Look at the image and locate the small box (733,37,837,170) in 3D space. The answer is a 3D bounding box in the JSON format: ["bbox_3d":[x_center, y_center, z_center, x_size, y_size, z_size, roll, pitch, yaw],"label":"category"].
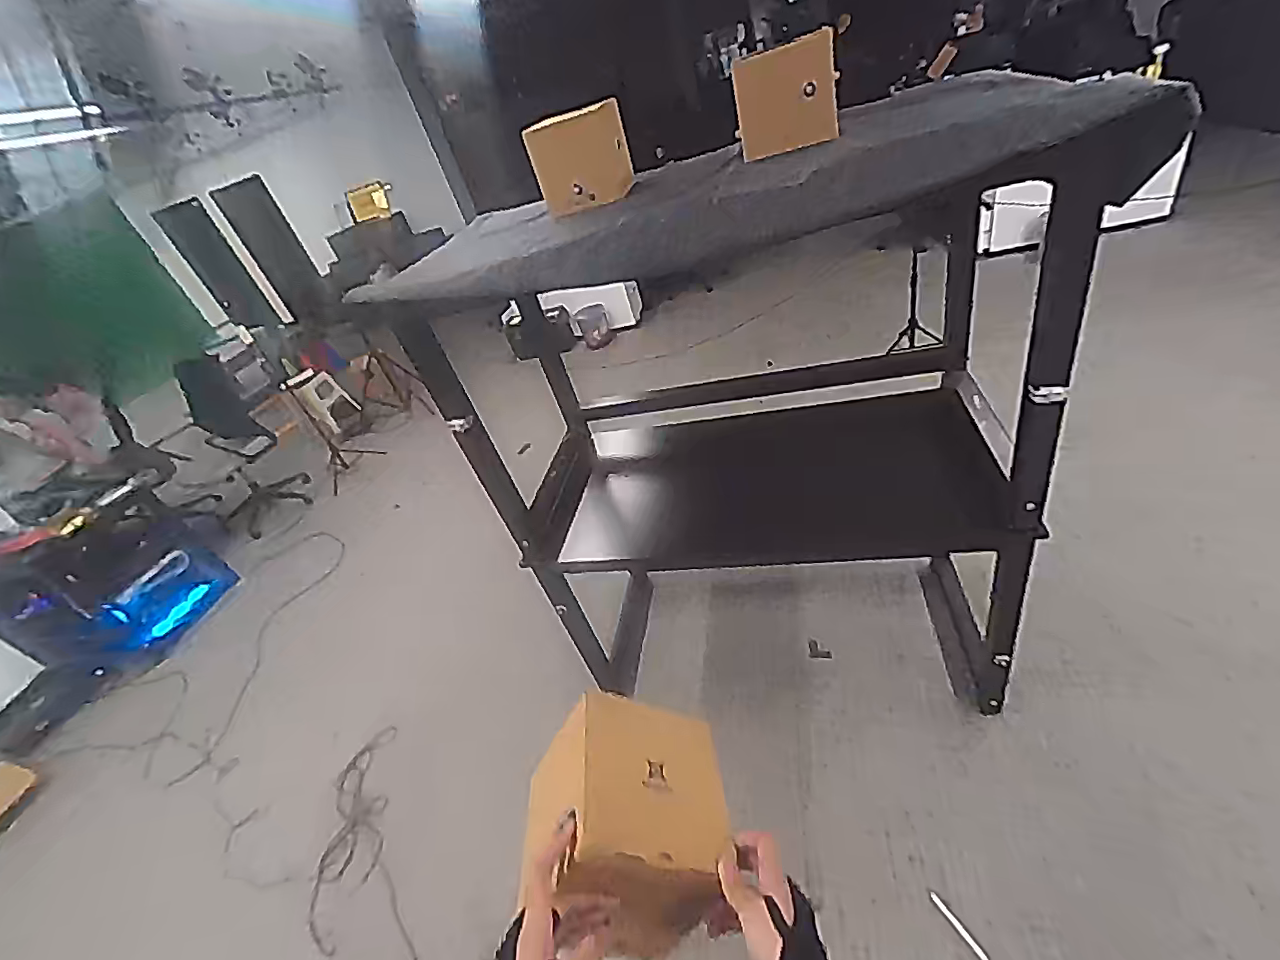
[{"bbox_3d":[0.286,-0.727,1.049,0.179,0.176,0.168,-5,36,19],"label":"small box"}]
